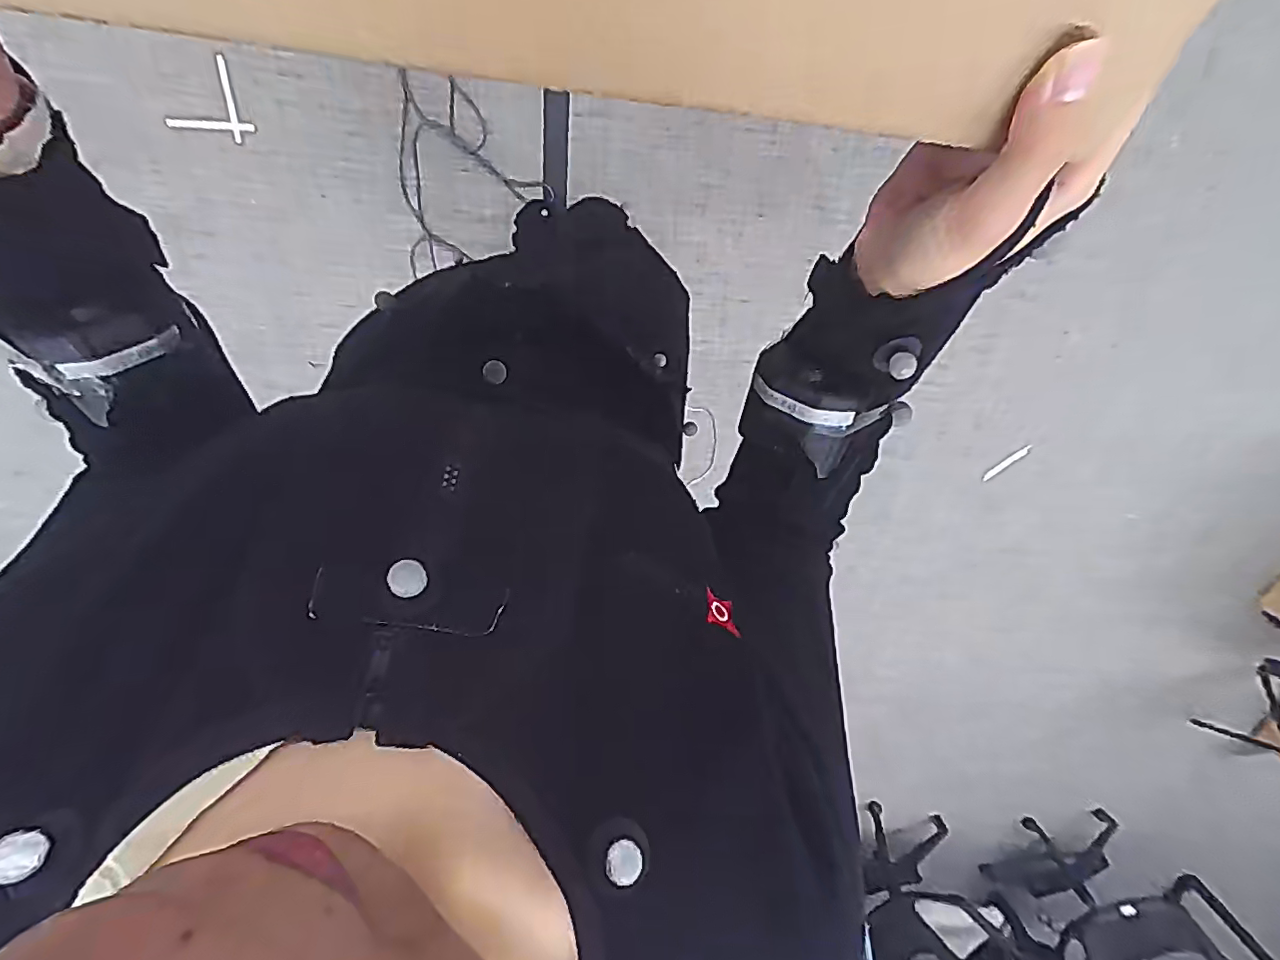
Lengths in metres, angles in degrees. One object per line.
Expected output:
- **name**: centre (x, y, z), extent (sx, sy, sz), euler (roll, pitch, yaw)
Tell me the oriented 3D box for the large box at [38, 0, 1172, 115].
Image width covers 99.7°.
- **large box**: centre (-0.027, -0.343, 0.129), extent (0.408, 0.320, 0.320), euler (2, 146, -7)
